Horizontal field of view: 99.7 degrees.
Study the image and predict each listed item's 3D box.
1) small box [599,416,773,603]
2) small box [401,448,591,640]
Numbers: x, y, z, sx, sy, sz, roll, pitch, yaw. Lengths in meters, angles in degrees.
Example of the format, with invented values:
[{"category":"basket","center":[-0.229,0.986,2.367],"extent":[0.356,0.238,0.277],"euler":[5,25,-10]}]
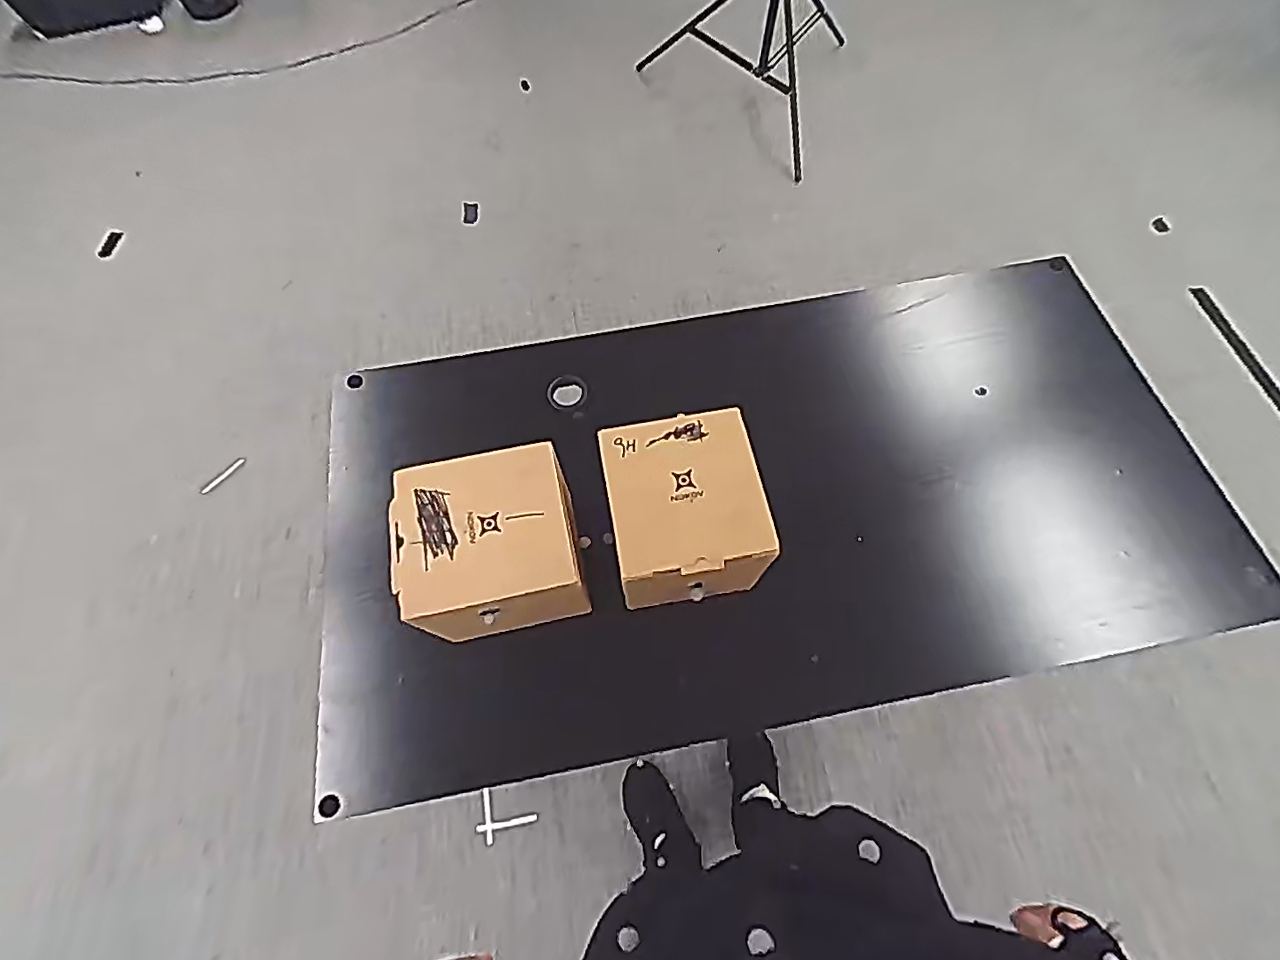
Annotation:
[{"category":"small box","center":[0.047,0.046,0.660],"extent":[0.168,0.176,0.179],"euler":[-9,67,-4]},{"category":"small box","center":[-0.164,0.085,0.647],"extent":[0.179,0.176,0.168],"euler":[-12,67,-5]}]
